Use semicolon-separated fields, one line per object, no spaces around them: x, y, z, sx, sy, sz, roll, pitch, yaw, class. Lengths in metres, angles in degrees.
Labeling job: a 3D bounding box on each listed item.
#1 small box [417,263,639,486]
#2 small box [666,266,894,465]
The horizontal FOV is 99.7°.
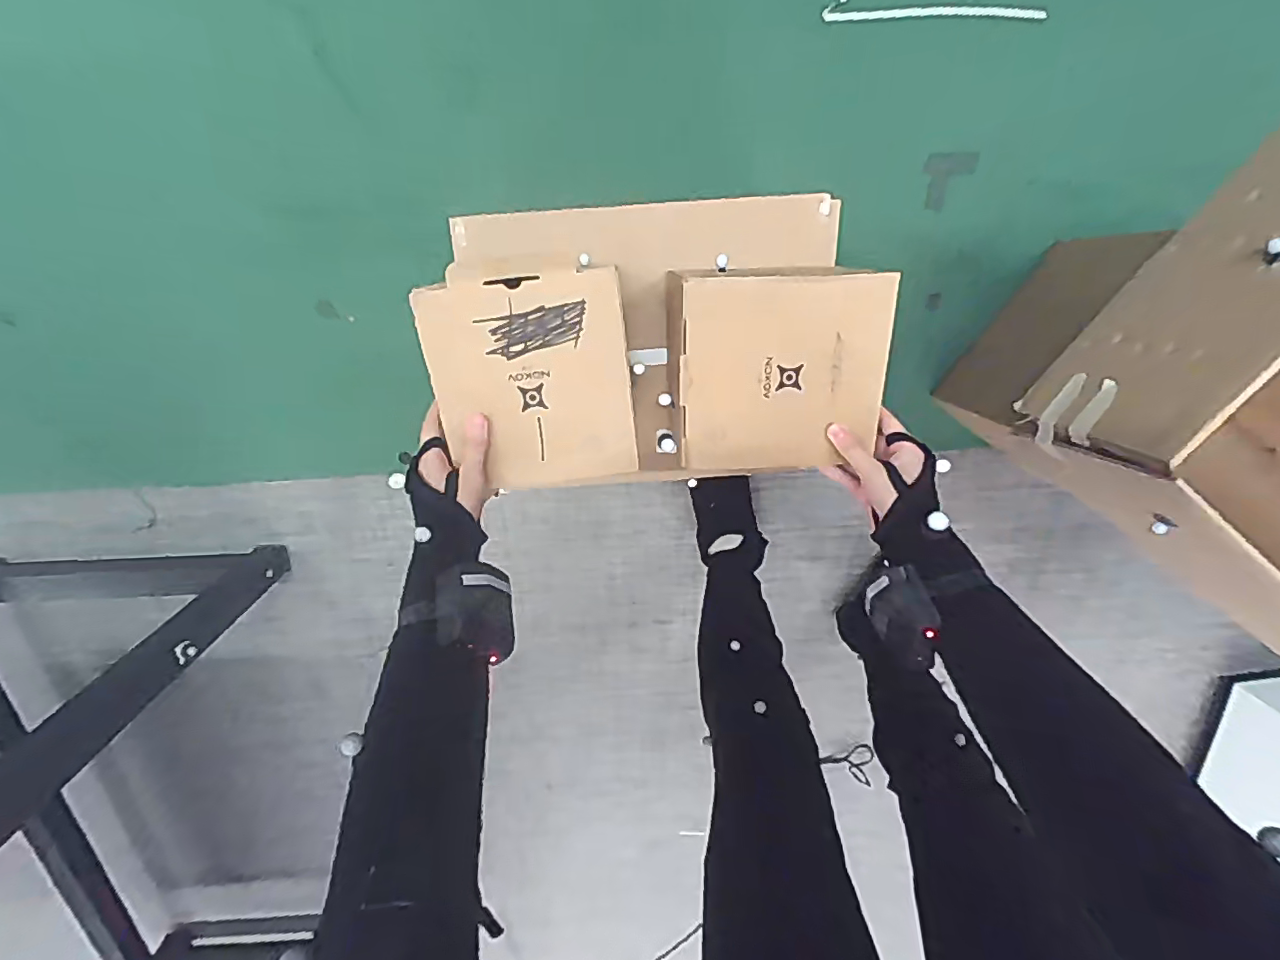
-0.093;-0.111;0.533;0.168;0.176;0.179;-6;112;1;small box
0.117;-0.120;0.537;0.179;0.176;0.168;-2;113;-1;small box
